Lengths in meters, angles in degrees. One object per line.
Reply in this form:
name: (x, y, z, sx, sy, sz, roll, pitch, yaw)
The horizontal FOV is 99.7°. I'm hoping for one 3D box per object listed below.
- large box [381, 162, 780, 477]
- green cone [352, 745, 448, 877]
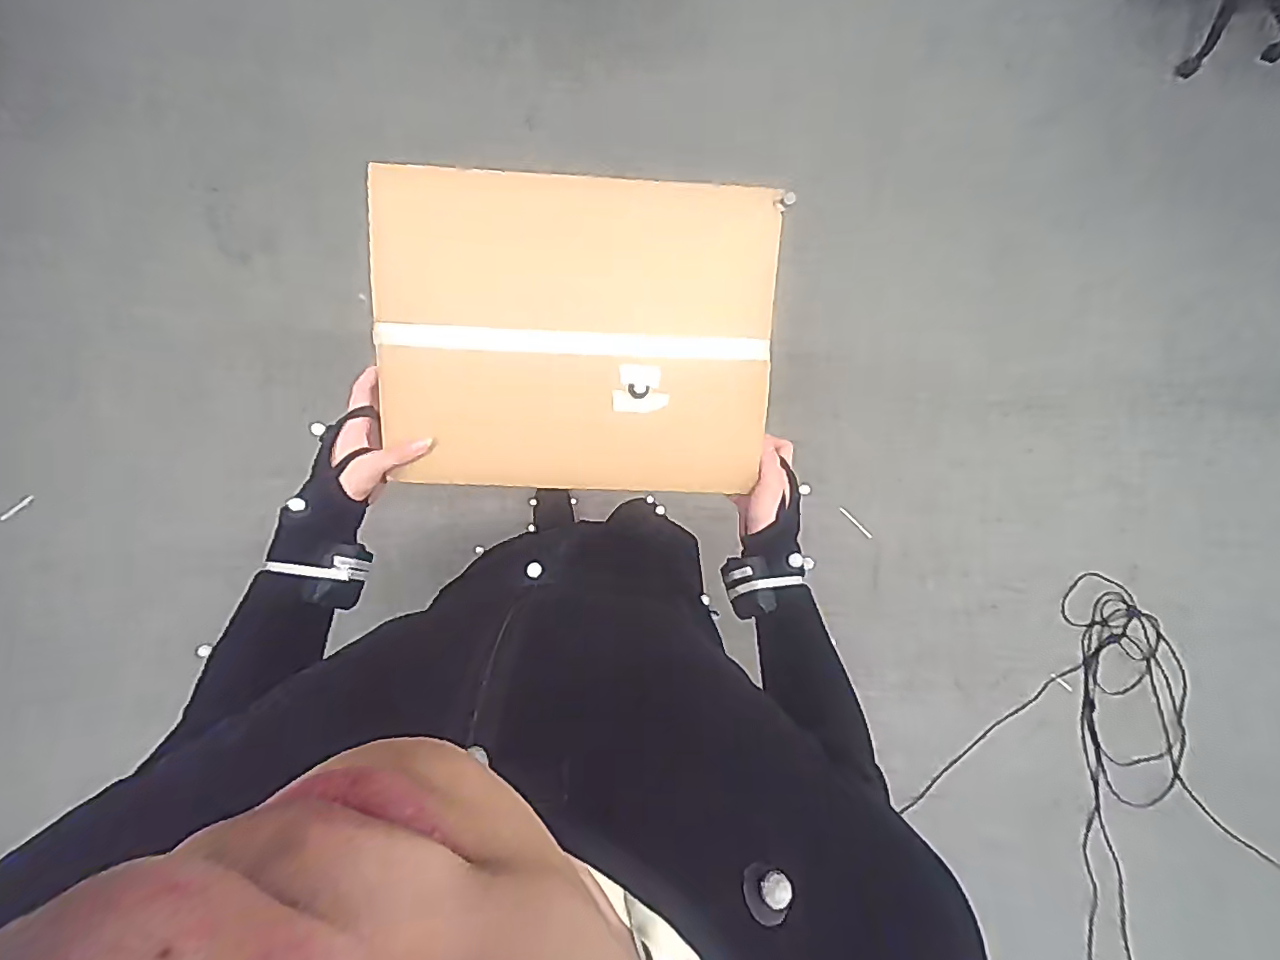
large box: (-0.069, -0.185, 0.710, 0.408, 0.320, 0.320, 1, 102, -4)
green cone: (-0.645, 0.865, 1.385, 0.200, 0.368, 0.202, 5, 89, -6)
